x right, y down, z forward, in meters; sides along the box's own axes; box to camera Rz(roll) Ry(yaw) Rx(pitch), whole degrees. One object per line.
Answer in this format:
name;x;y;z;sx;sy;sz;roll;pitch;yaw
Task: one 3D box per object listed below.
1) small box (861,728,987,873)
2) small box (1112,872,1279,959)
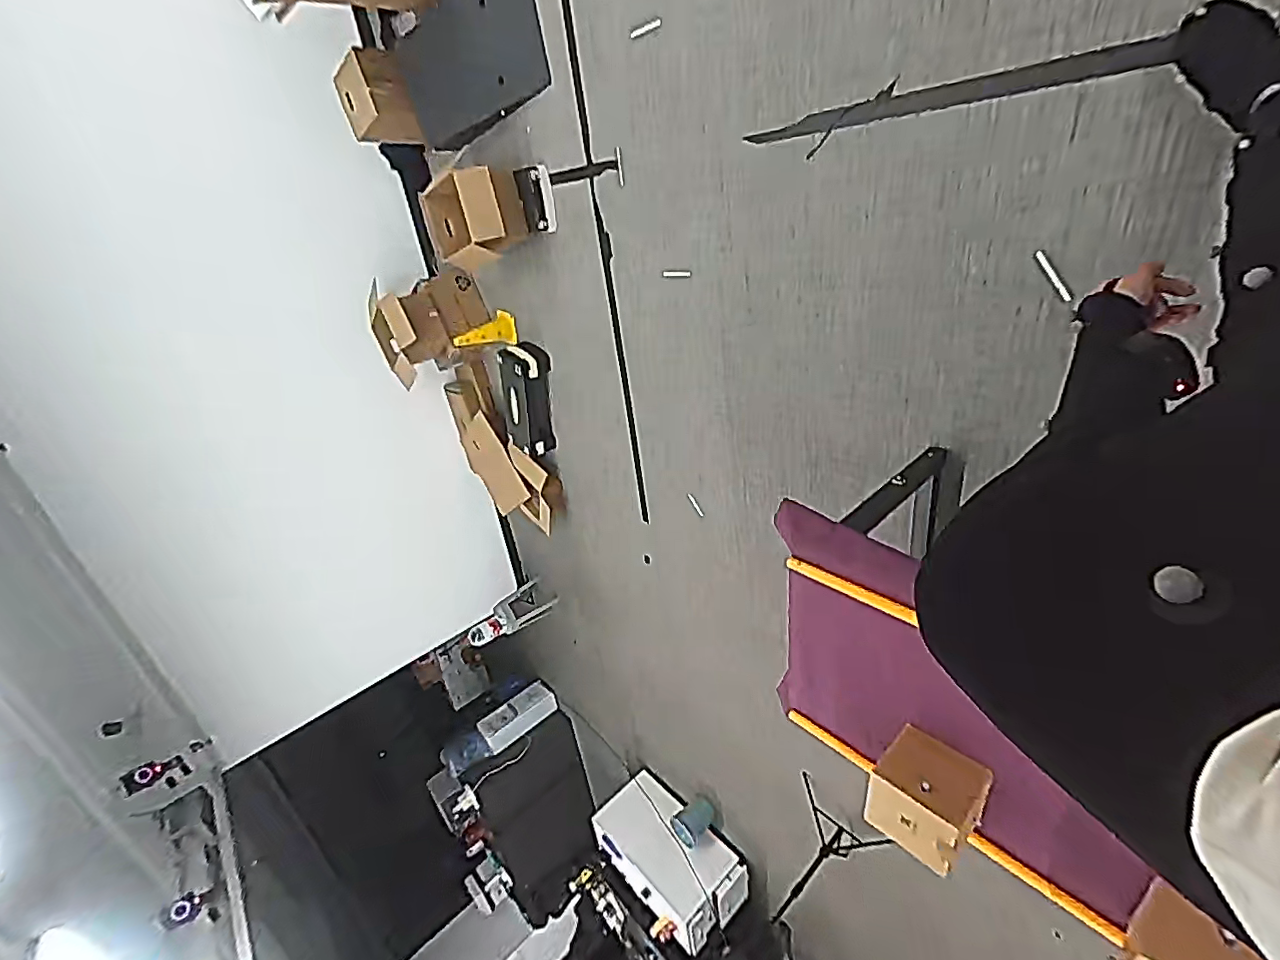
small box;0.601;0.666;1.152;0.179;0.176;0.168;23;128;43
small box;0.879;0.786;0.856;0.168;0.176;0.179;23;128;44
